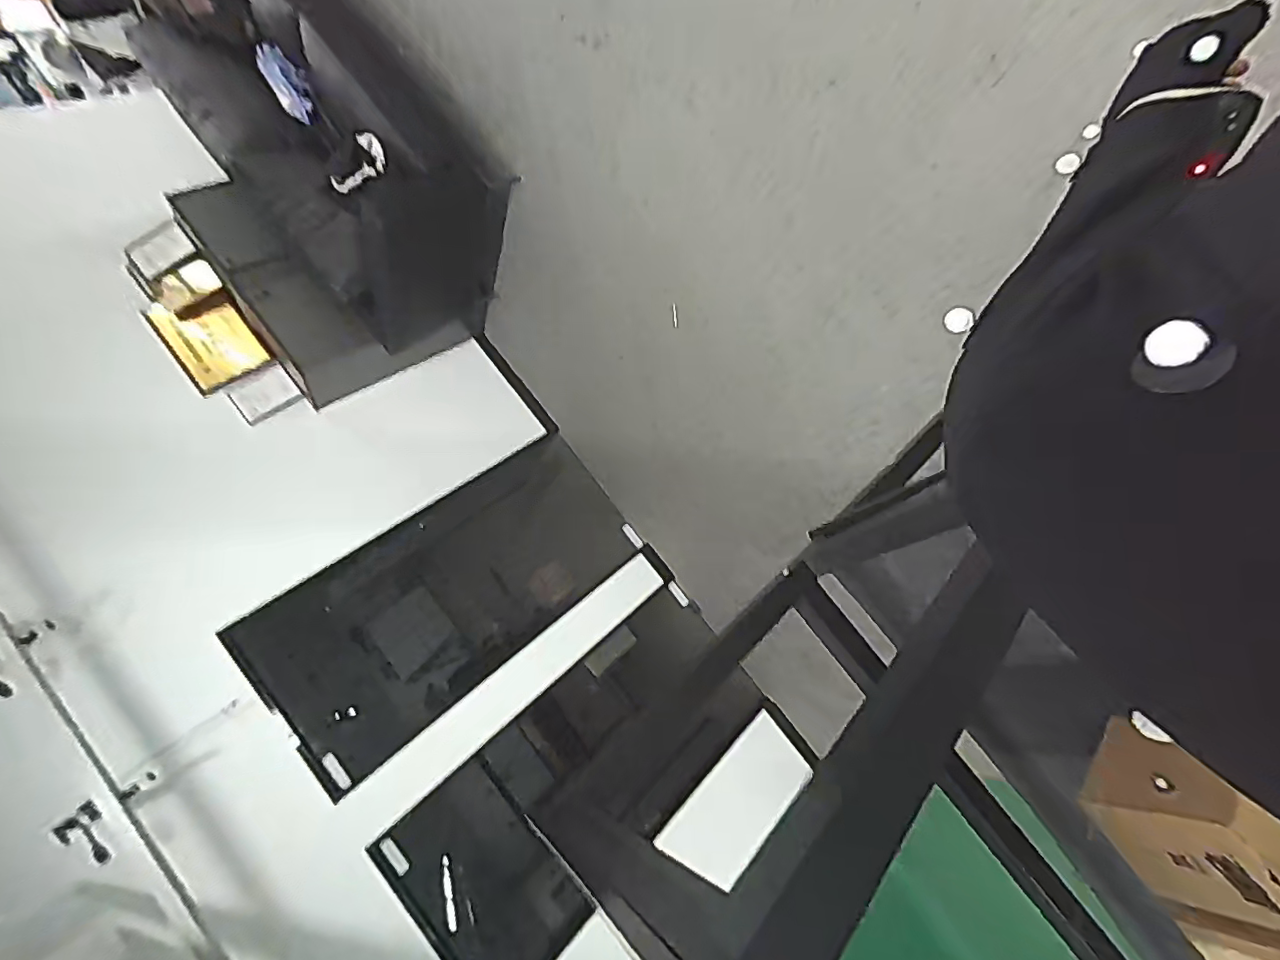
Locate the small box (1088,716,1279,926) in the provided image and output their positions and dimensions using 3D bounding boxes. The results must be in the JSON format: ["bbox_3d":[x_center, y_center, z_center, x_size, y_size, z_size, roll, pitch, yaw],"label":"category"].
[{"bbox_3d":[0.768,0.442,0.725,0.168,0.176,0.179,52,152,4],"label":"small box"}]
